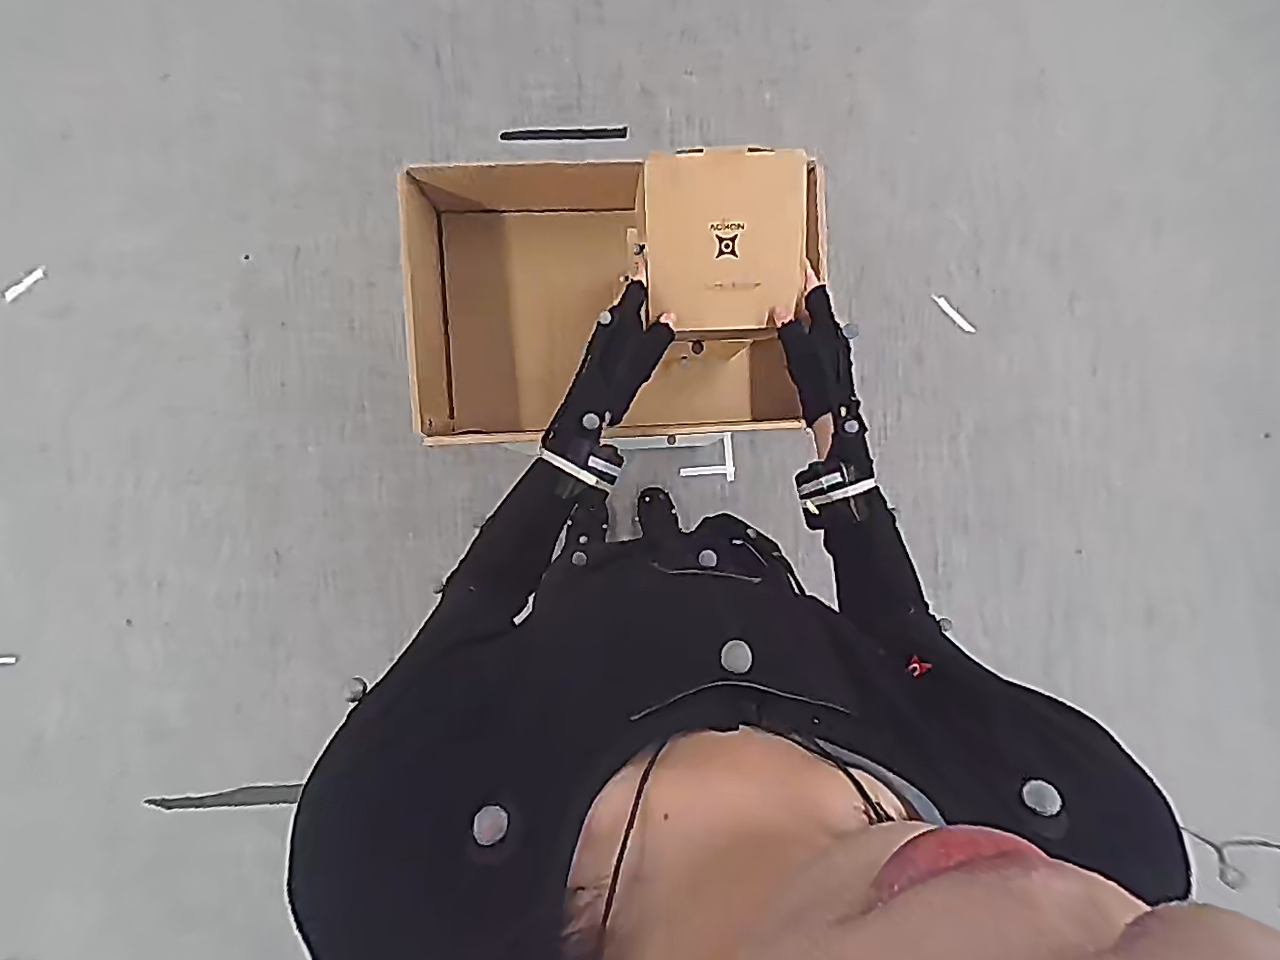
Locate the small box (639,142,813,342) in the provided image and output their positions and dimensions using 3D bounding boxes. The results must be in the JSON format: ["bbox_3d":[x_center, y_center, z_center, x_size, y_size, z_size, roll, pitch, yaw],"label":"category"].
[{"bbox_3d":[0.087,-0.257,0.621,0.168,0.176,0.179,-3,101,-2],"label":"small box"}]

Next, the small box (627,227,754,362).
[{"bbox_3d":[0.072,-0.281,0.843,0.179,0.176,0.168,-3,93,-2],"label":"small box"}]
